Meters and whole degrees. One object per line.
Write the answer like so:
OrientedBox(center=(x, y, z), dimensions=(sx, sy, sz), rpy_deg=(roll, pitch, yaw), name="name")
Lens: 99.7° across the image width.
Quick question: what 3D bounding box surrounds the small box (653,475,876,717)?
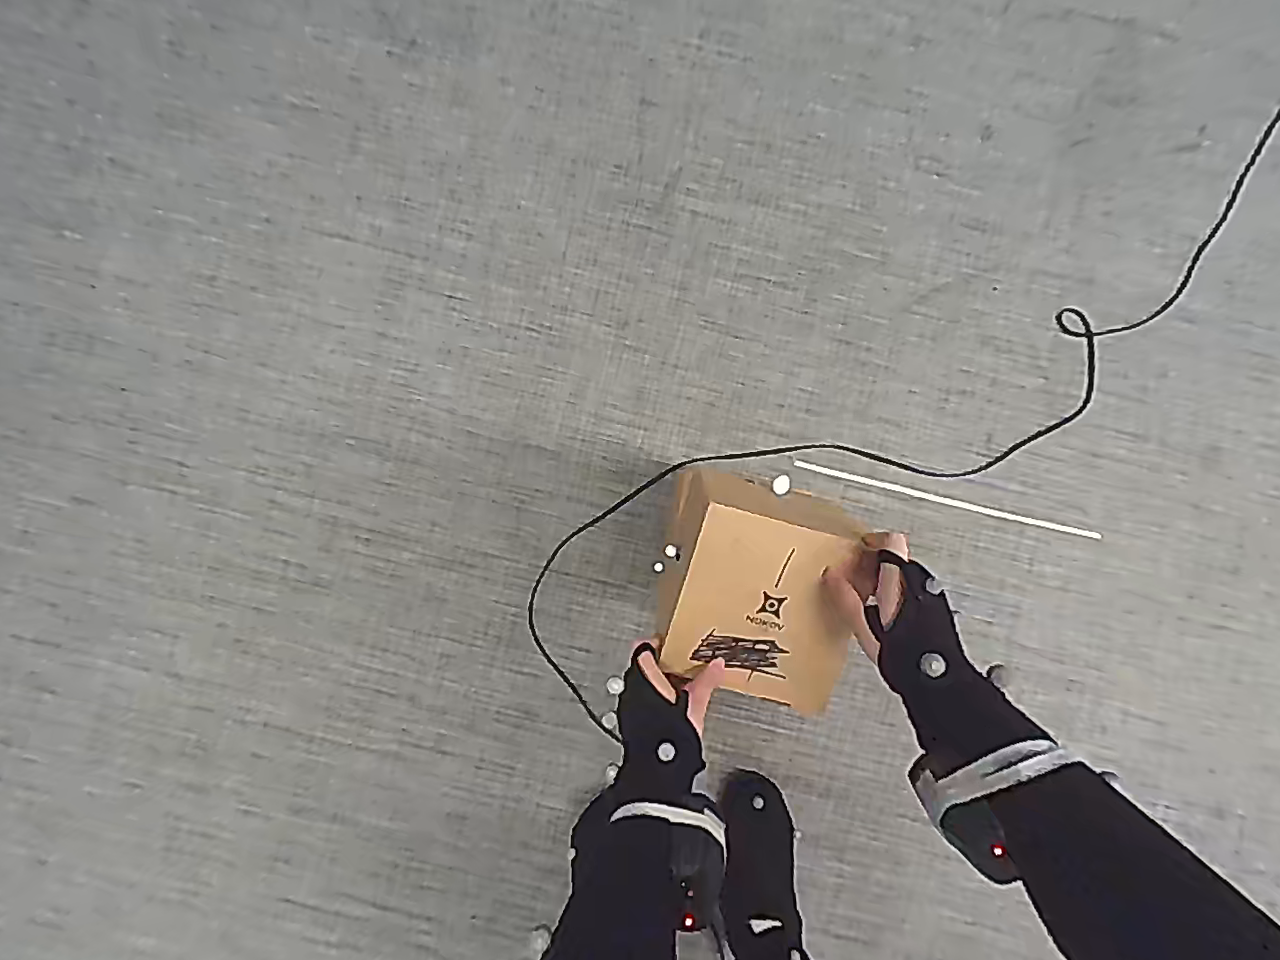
OrientedBox(center=(0.116, 0.110, 0.576), dimensions=(0.168, 0.176, 0.179), rpy_deg=(14, 102, 0), name="small box")
